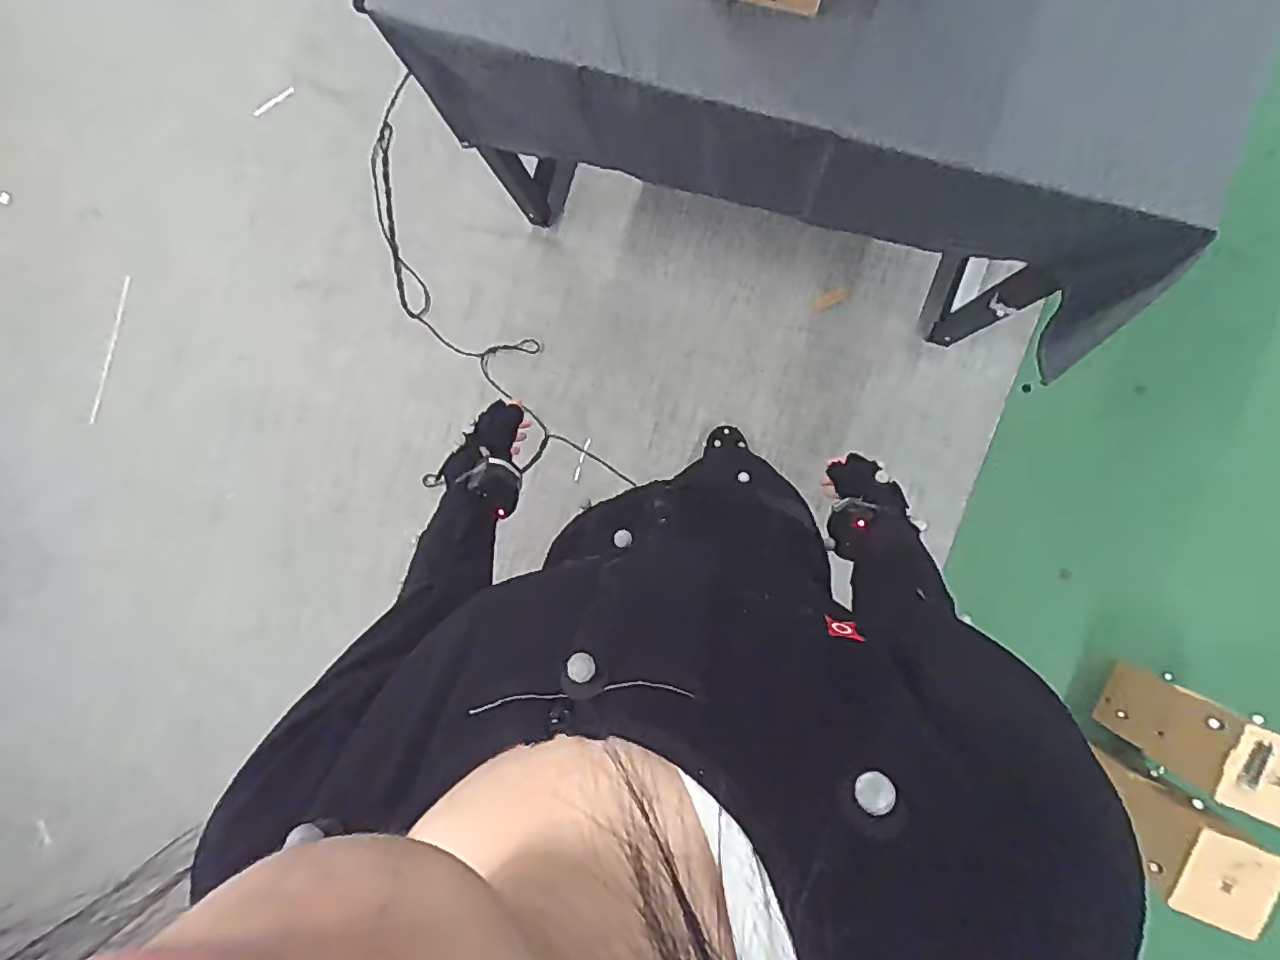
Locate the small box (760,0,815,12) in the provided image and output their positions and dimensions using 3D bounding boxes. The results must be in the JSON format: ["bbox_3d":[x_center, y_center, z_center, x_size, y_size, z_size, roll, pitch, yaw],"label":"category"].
[{"bbox_3d":[0.167,-0.721,0.645,0.168,0.176,0.179,18,92,6],"label":"small box"}]

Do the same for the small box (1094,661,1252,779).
[{"bbox_3d":[1.239,0.551,1.275,0.179,0.176,0.168,24,94,6],"label":"small box"}]
